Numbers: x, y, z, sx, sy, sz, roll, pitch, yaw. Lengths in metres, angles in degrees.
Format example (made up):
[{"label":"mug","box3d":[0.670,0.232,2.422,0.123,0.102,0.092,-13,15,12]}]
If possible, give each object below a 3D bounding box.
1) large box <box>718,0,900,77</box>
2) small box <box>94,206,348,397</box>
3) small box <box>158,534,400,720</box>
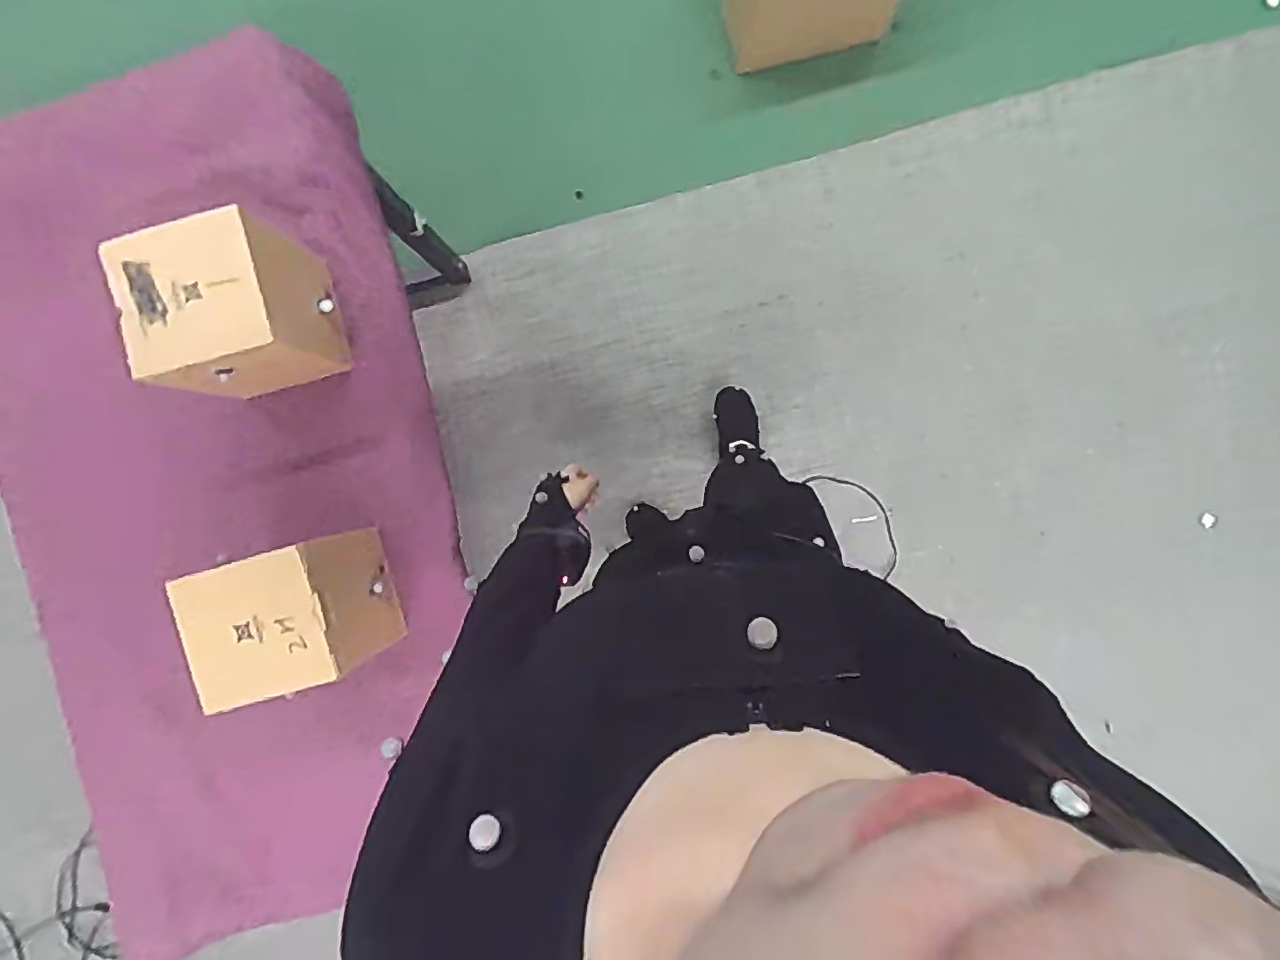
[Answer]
[{"label":"large box","box3d":[0.412,-1.274,1.303,0.408,0.320,0.320,-13,91,2]},{"label":"small box","box3d":[-0.520,-0.212,0.695,0.179,0.176,0.168,-15,91,2]},{"label":"small box","box3d":[-0.448,0.176,0.697,0.179,0.176,0.168,-16,91,4]}]
